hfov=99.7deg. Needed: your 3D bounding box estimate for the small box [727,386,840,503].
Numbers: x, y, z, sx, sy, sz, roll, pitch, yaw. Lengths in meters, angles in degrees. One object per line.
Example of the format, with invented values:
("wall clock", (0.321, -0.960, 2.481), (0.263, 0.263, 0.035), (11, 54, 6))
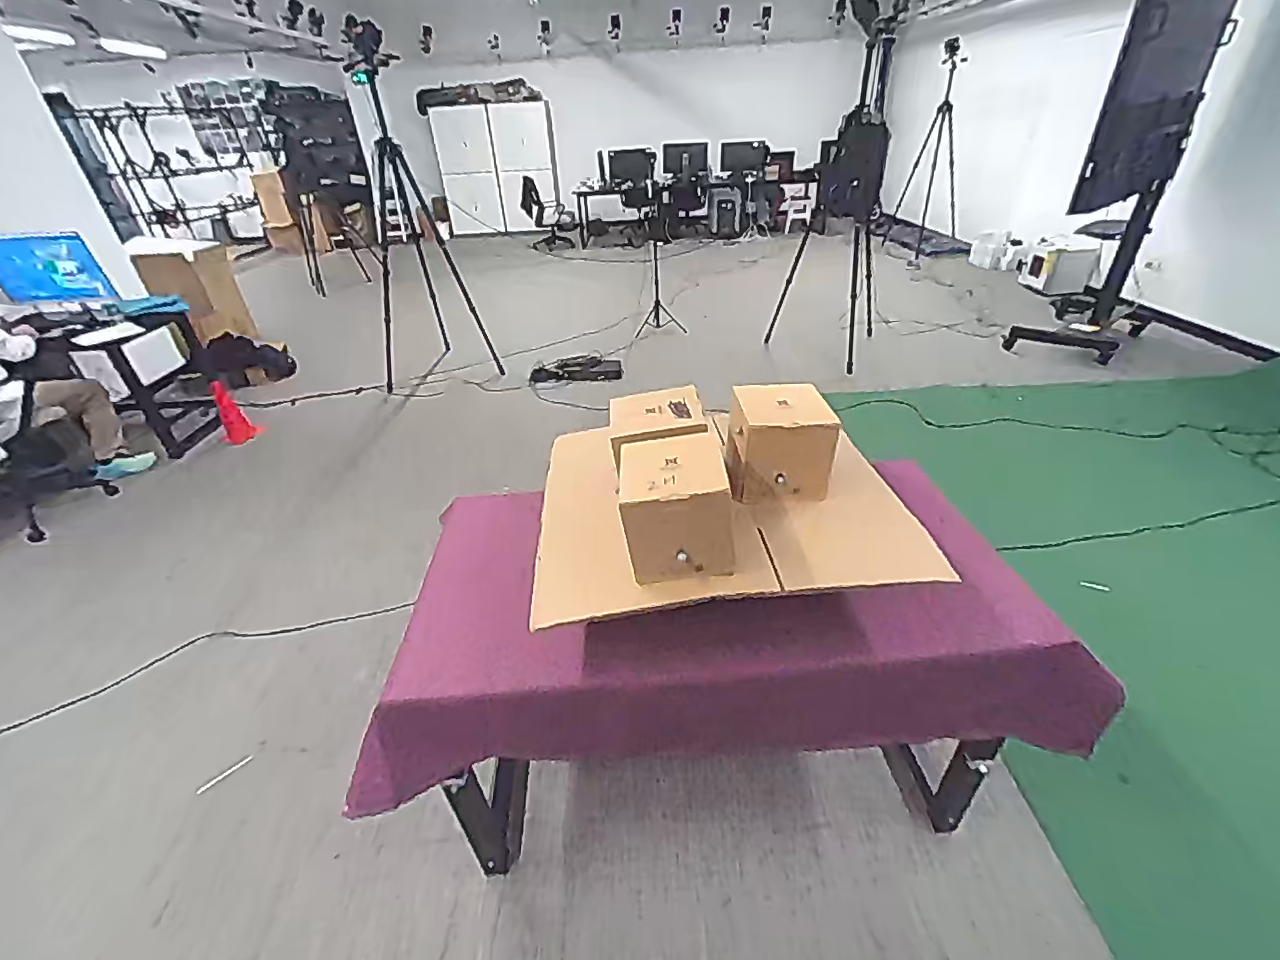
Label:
("small box", (0.270, -0.072, 1.064), (0.168, 0.176, 0.179), (-2, 34, -1))
